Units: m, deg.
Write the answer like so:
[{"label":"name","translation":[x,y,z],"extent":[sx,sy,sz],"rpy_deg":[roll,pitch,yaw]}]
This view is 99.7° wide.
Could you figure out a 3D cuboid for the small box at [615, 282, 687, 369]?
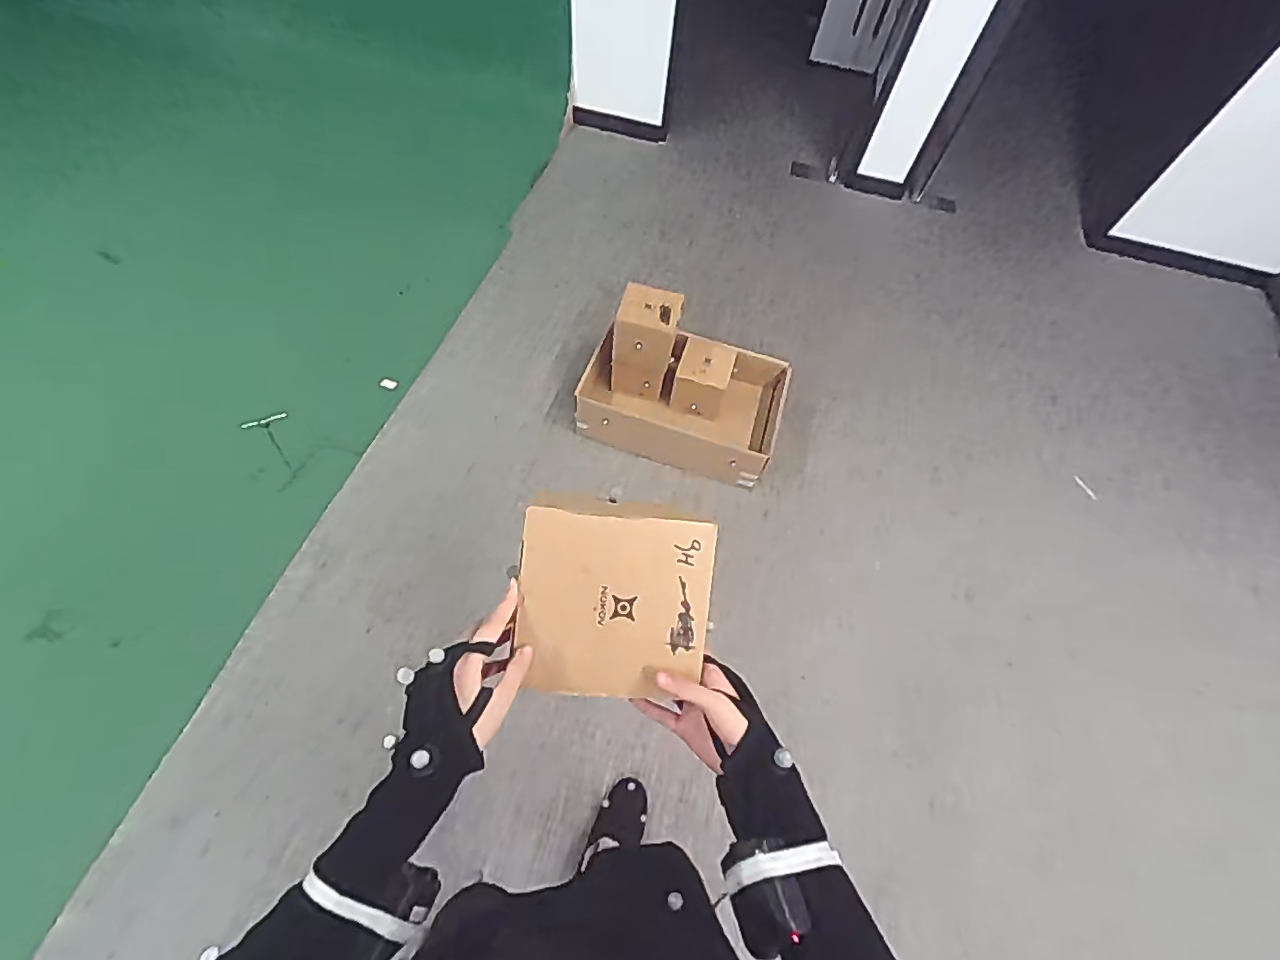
[{"label":"small box","translation":[0.029,-0.459,1.629],"extent":[0.179,0.176,0.168],"rpy_deg":[14,60,3]}]

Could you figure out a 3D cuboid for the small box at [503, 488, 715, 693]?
[{"label":"small box","translation":[-0.033,0.100,0.561],"extent":[0.179,0.176,0.168],"rpy_deg":[6,93,-6]}]

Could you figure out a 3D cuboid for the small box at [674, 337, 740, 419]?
[{"label":"small box","translation":[0.213,-0.329,1.759],"extent":[0.168,0.176,0.179],"rpy_deg":[17,60,6]}]
